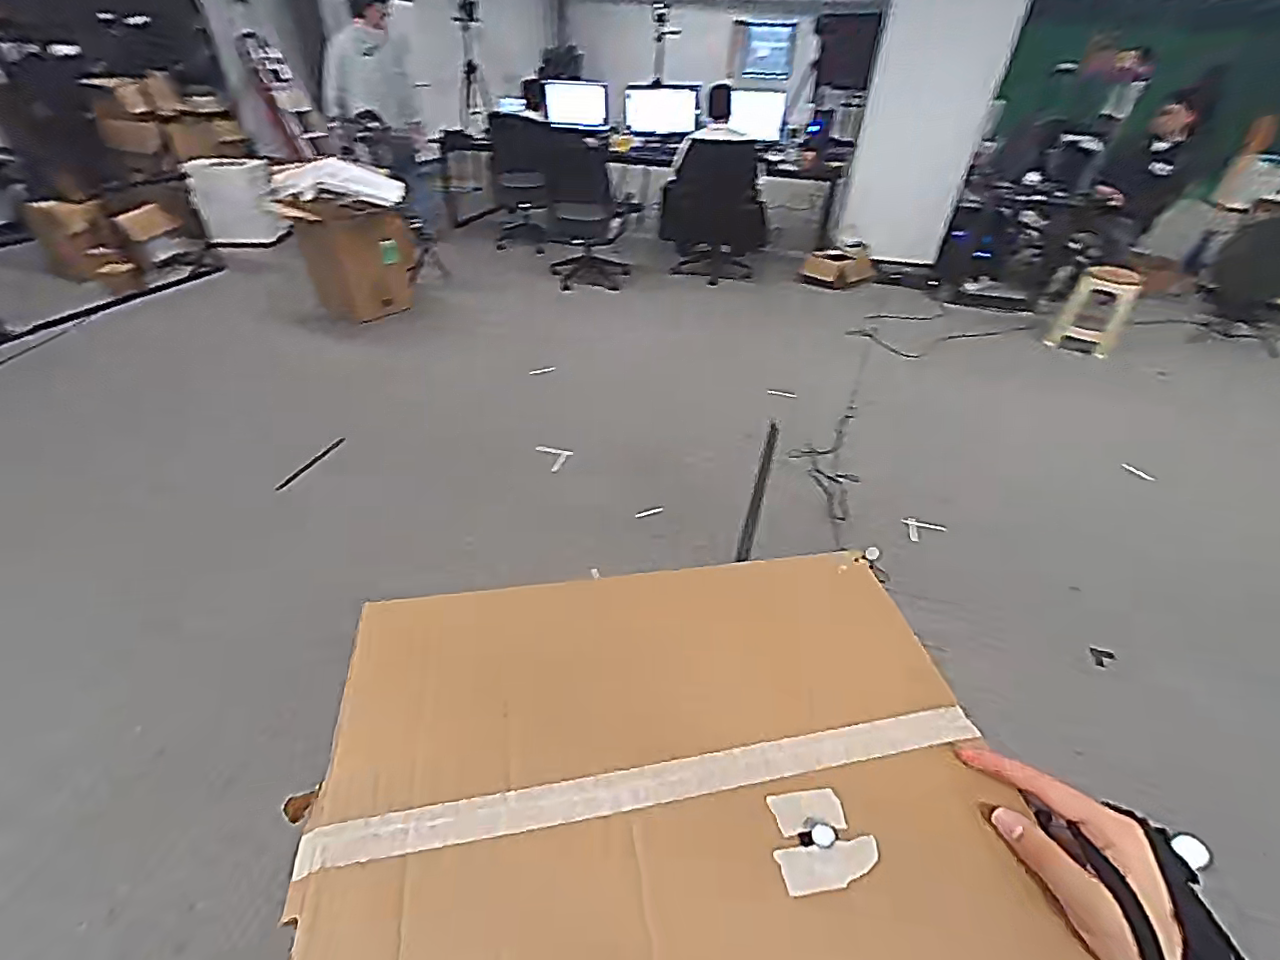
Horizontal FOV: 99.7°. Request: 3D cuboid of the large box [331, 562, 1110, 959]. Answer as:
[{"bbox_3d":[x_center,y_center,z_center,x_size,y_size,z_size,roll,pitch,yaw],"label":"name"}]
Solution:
[{"bbox_3d":[0.018,0.300,0.434,0.408,0.320,0.320,-4,43,-12],"label":"large box"}]
